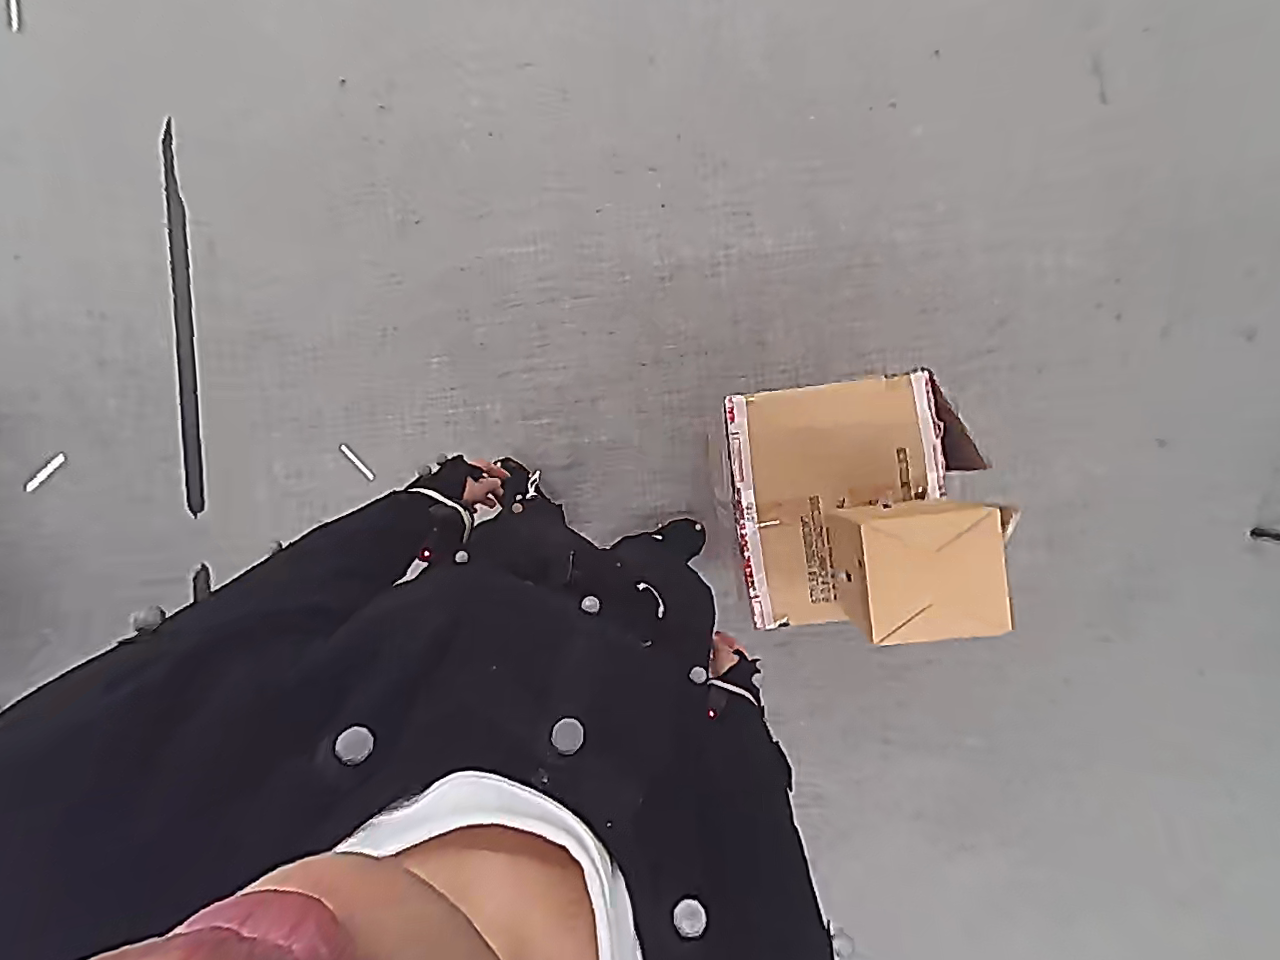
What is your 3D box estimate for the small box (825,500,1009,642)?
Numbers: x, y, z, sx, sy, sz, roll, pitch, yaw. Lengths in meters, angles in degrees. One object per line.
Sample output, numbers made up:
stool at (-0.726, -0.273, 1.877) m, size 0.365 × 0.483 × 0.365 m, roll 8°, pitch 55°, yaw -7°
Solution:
small box at (0.385, 0.124, 0.779) m, size 0.179 × 0.176 × 0.168 m, roll -7°, pitch 92°, yaw 5°
